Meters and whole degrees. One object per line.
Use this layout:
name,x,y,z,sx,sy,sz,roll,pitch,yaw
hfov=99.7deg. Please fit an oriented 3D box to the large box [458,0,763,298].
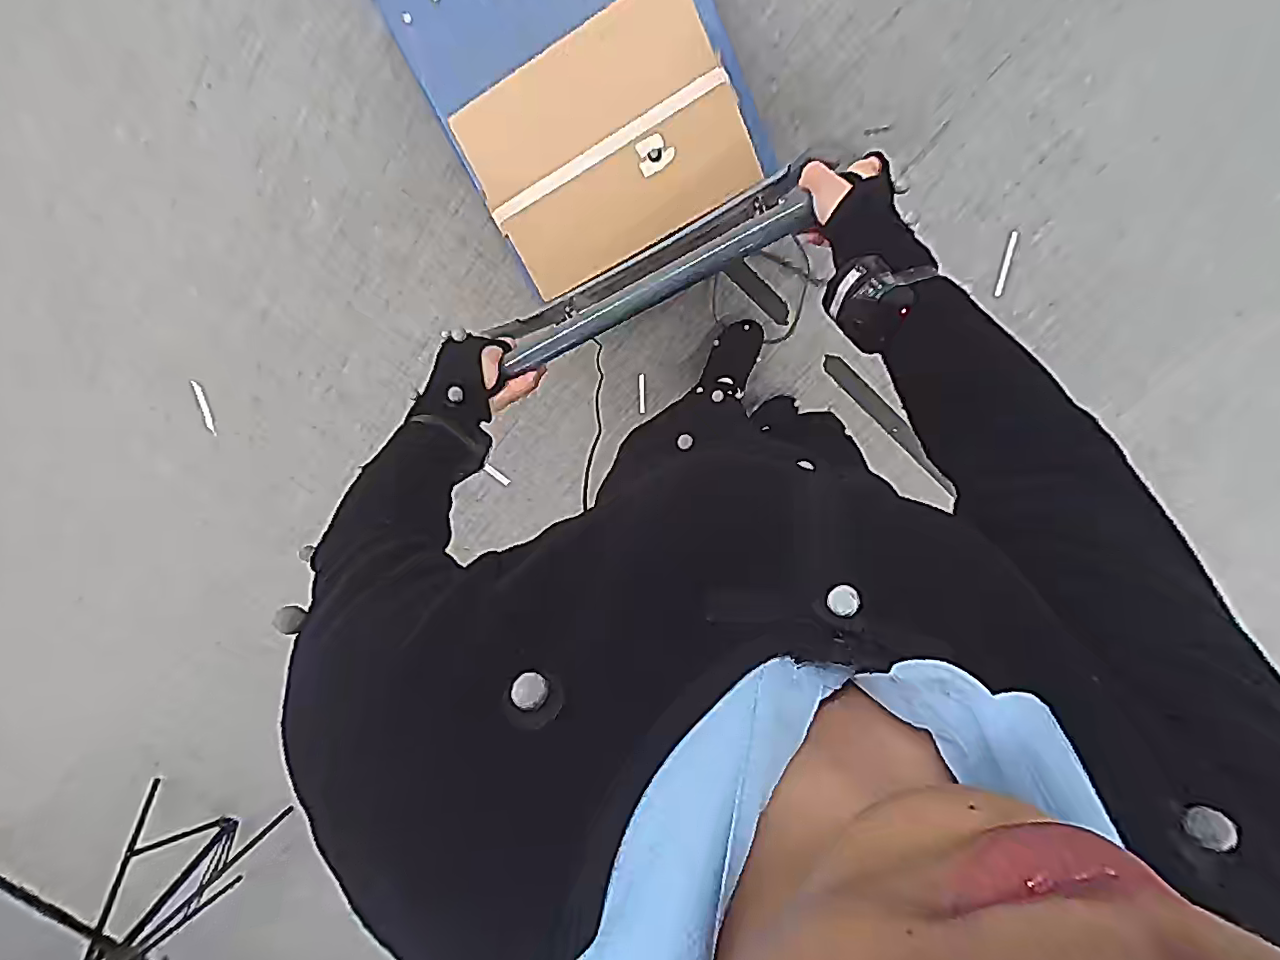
large box,-0.036,-0.569,0.987,0.408,0.320,0.320,-25,106,14
